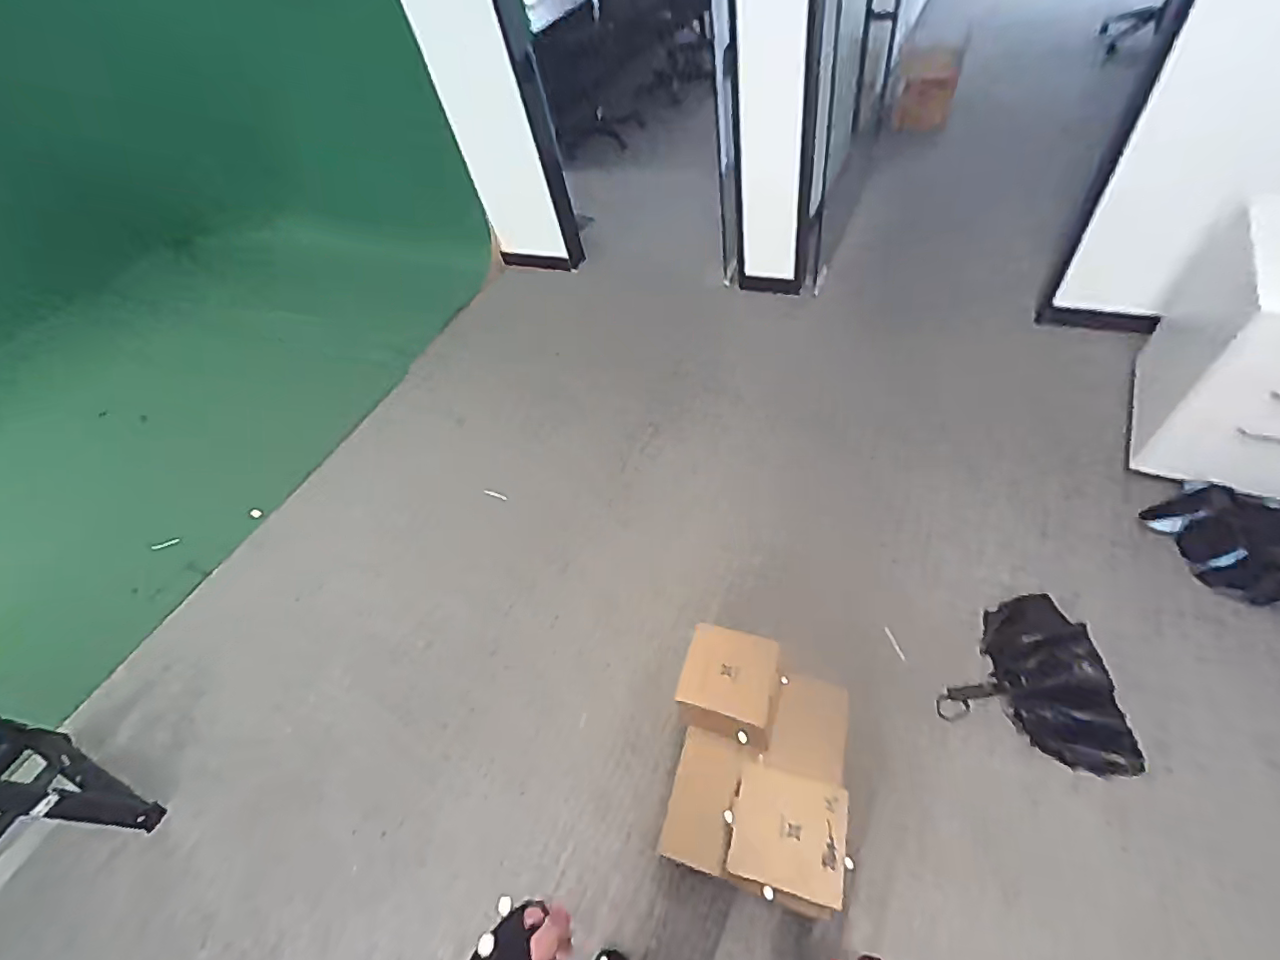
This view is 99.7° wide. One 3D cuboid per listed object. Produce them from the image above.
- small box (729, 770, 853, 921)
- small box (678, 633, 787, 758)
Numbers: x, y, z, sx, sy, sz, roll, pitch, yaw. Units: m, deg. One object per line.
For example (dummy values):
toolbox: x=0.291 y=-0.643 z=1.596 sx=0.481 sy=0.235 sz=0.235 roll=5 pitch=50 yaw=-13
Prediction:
small box: x=0.256 y=0.623 z=0.919 sx=0.179 sy=0.176 sz=0.168 roll=8 pitch=53 yaw=18
small box: x=0.196 y=0.437 z=1.090 sx=0.179 sy=0.176 sz=0.168 roll=7 pitch=52 yaw=24
